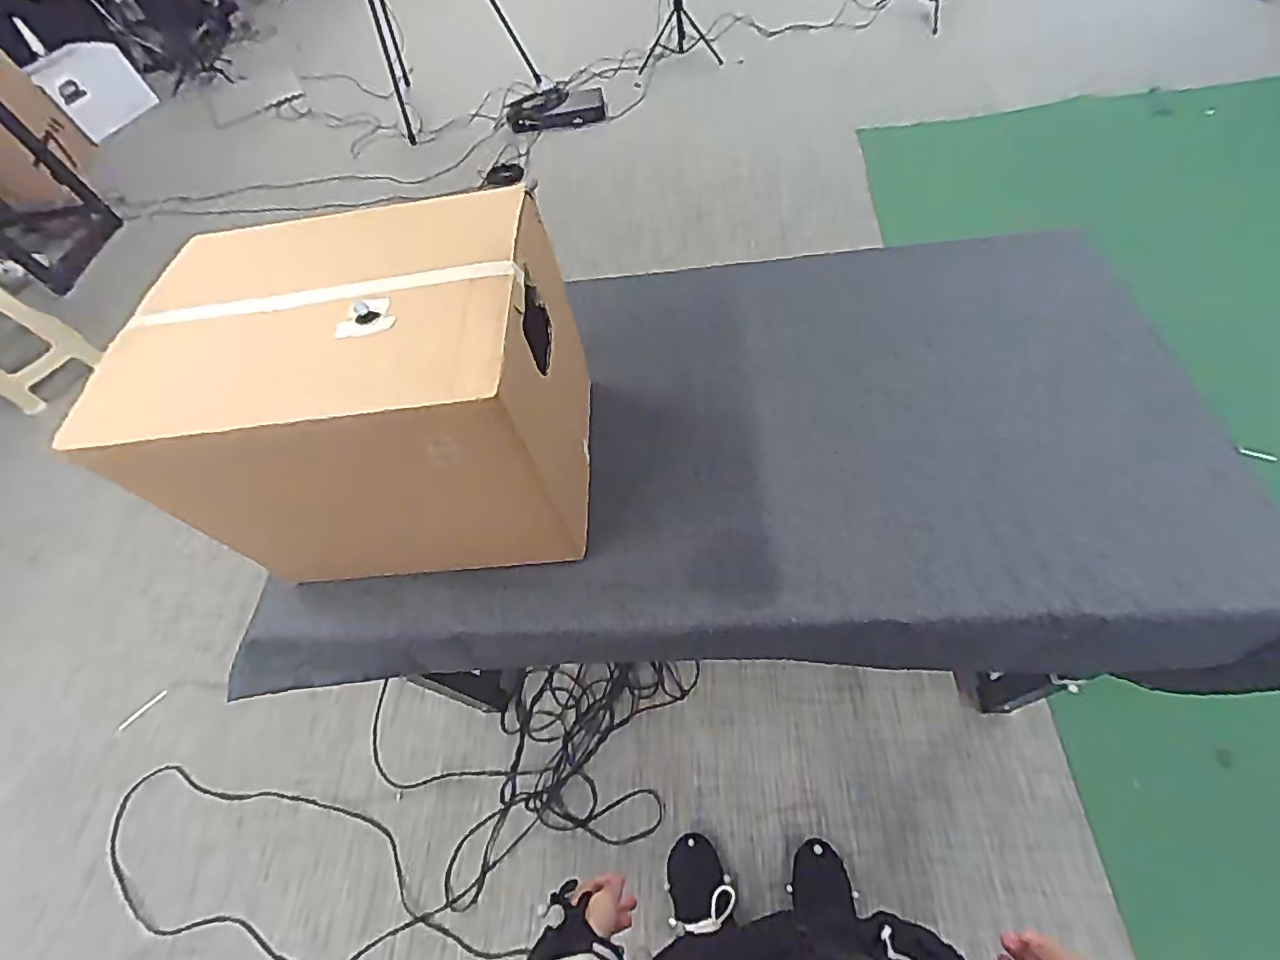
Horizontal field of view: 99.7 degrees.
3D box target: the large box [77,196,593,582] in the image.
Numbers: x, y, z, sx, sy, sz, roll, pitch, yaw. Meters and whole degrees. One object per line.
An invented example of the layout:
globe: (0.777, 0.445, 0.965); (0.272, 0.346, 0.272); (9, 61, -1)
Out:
large box: (-0.283, -0.090, 0.658); (0.408, 0.320, 0.320); (-5, 57, 5)
